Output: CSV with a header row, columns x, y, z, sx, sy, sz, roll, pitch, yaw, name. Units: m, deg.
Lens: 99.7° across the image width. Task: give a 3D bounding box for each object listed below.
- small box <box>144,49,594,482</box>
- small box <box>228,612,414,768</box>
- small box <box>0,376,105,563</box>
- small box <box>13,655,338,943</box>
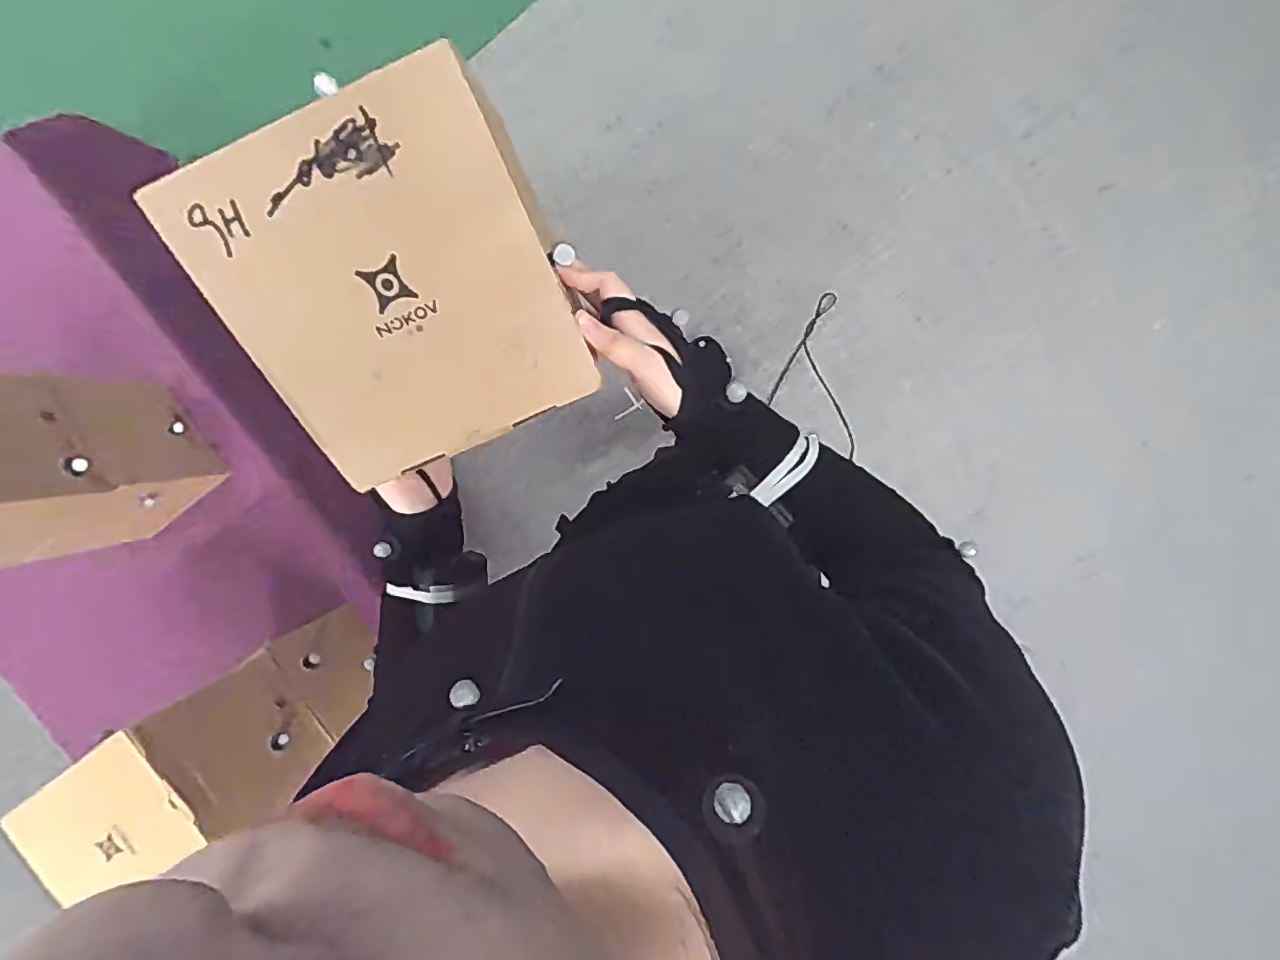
x,y,z,sx,sy,sz,roll,pitch,yaw,name
-0.138,-0.132,0.357,0.168,0.176,0.179,-22,117,4,small box
-0.458,0.304,0.749,0.168,0.176,0.179,-36,91,9,small box
-0.747,-0.005,0.582,0.179,0.176,0.168,-33,92,9,small box
-0.482,0.327,0.589,0.179,0.176,0.168,-35,91,7,small box
